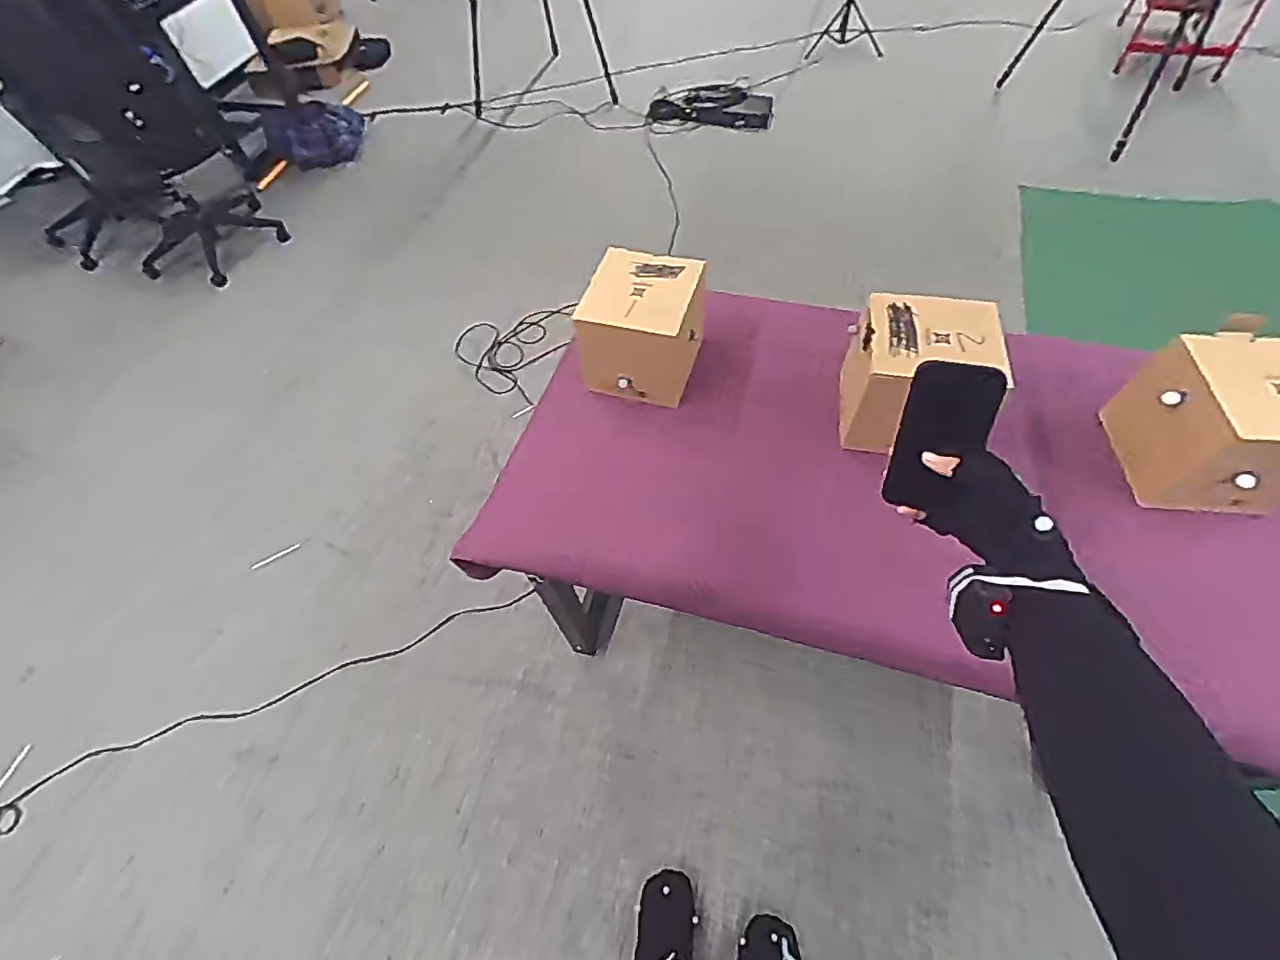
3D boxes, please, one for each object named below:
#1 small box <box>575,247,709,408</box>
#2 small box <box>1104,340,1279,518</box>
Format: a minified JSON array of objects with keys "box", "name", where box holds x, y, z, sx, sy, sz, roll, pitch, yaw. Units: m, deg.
[{"box":[0.009,-0.250,0.897,0.168,0.176,0.179,14,61,13],"name":"small box"},{"box":[0.782,-0.063,0.721,0.168,0.176,0.179,4,57,7],"name":"small box"}]
